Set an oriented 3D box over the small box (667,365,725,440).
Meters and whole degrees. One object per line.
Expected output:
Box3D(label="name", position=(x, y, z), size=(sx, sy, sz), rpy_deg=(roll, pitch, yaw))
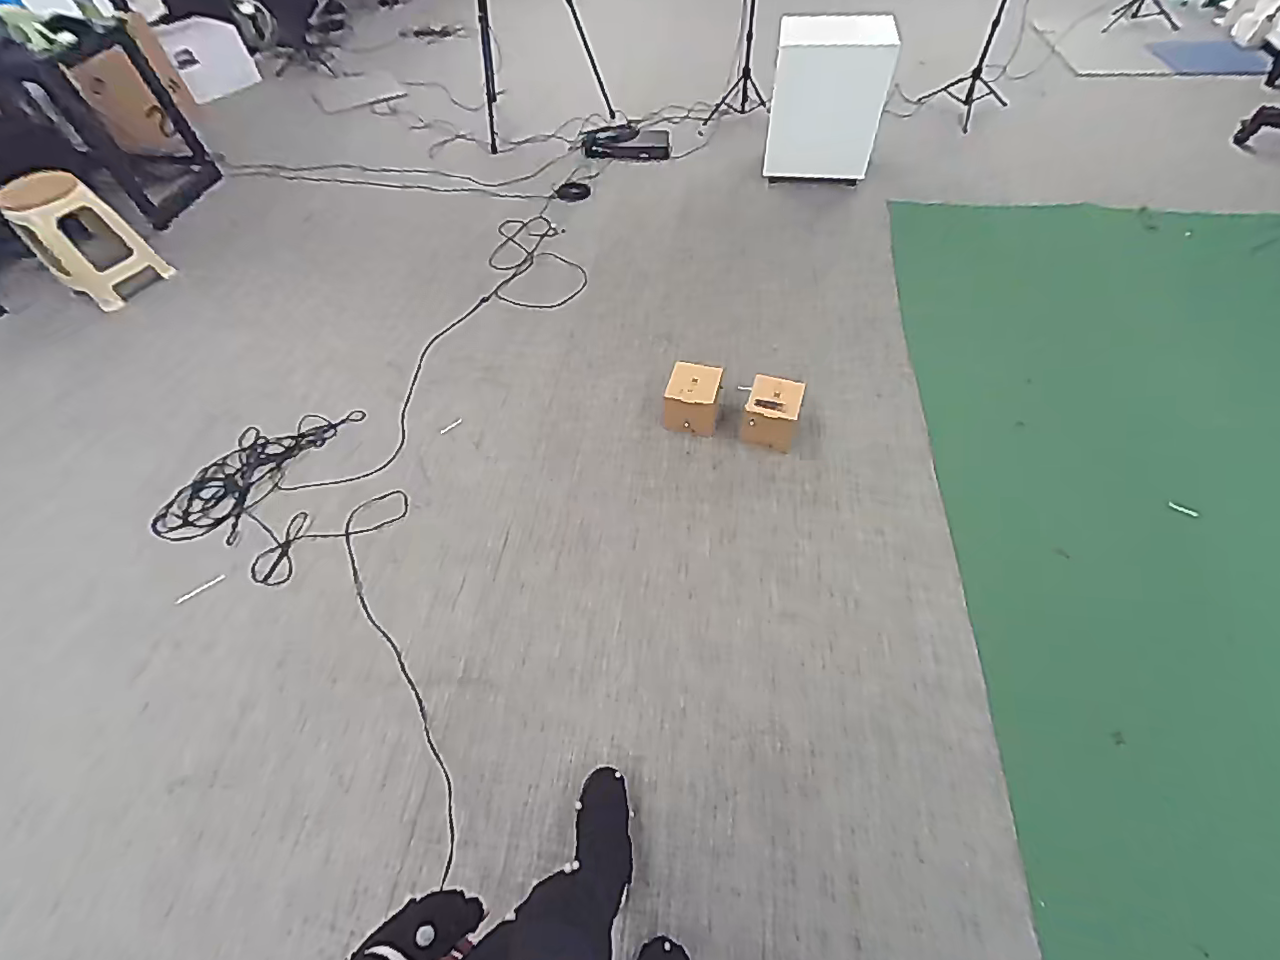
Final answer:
Box3D(label="small box", position=(0.192, -0.268, 1.873), size=(0.168, 0.176, 0.179), rpy_deg=(12, 56, 13))
